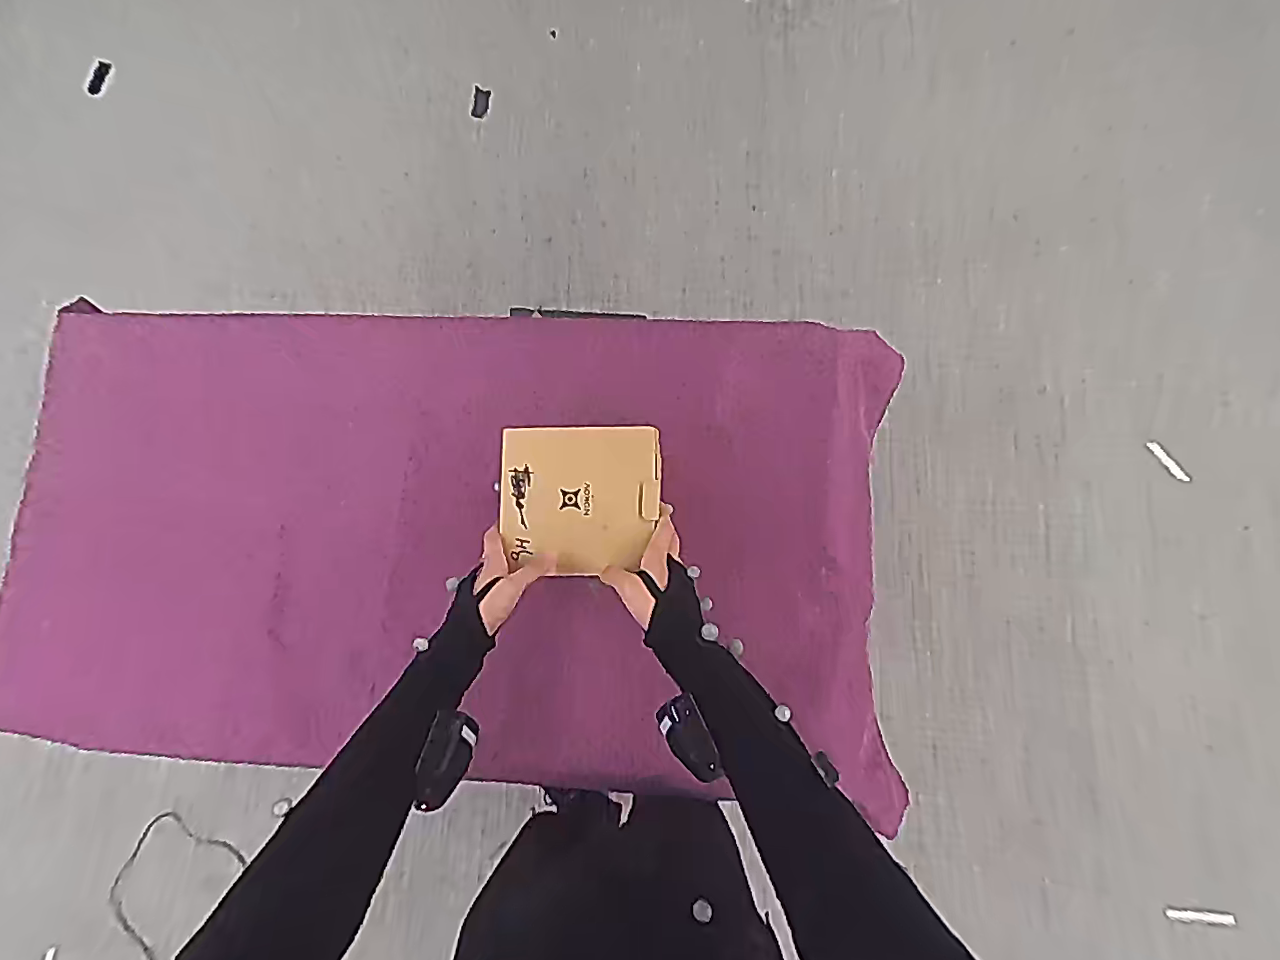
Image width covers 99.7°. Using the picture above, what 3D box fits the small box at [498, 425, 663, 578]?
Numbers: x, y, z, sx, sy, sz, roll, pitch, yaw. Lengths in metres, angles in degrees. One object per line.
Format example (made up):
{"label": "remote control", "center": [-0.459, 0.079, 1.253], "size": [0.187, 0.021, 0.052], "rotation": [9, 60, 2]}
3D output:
{"label": "small box", "center": [-0.061, 0.033, 0.663], "size": [0.179, 0.176, 0.168], "rotation": [0, 81, 3]}
